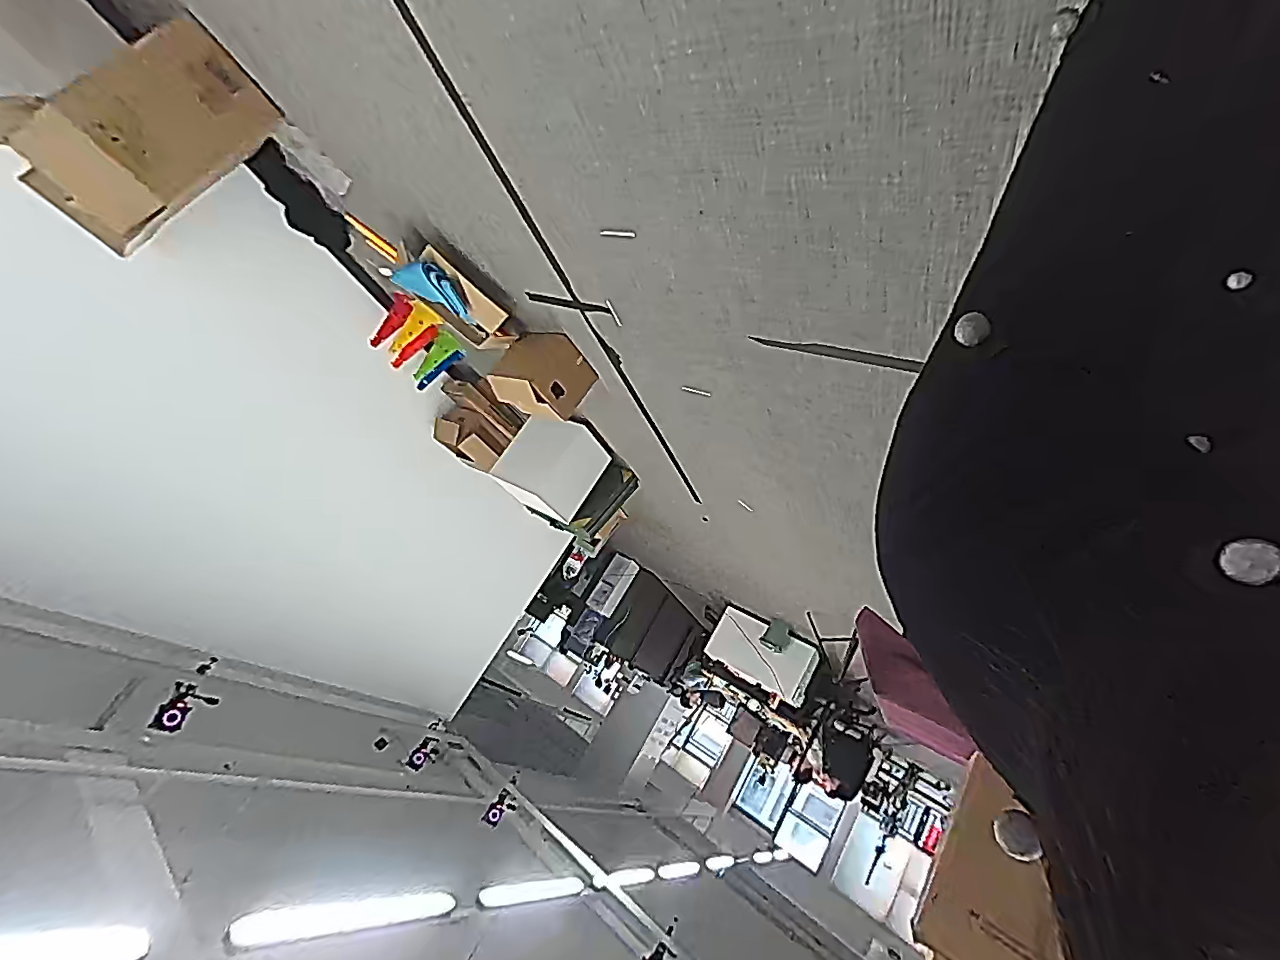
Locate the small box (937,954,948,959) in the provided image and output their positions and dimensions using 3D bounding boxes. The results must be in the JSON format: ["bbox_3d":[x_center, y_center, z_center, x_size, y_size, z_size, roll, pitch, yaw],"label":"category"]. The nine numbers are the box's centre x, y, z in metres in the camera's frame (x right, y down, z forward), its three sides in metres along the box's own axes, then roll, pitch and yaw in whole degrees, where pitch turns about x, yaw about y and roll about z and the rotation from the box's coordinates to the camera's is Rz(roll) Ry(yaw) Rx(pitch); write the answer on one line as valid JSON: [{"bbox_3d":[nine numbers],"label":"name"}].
[{"bbox_3d":[0.963,1.583,1.626,0.168,0.176,0.179,20,159,35],"label":"small box"}]
